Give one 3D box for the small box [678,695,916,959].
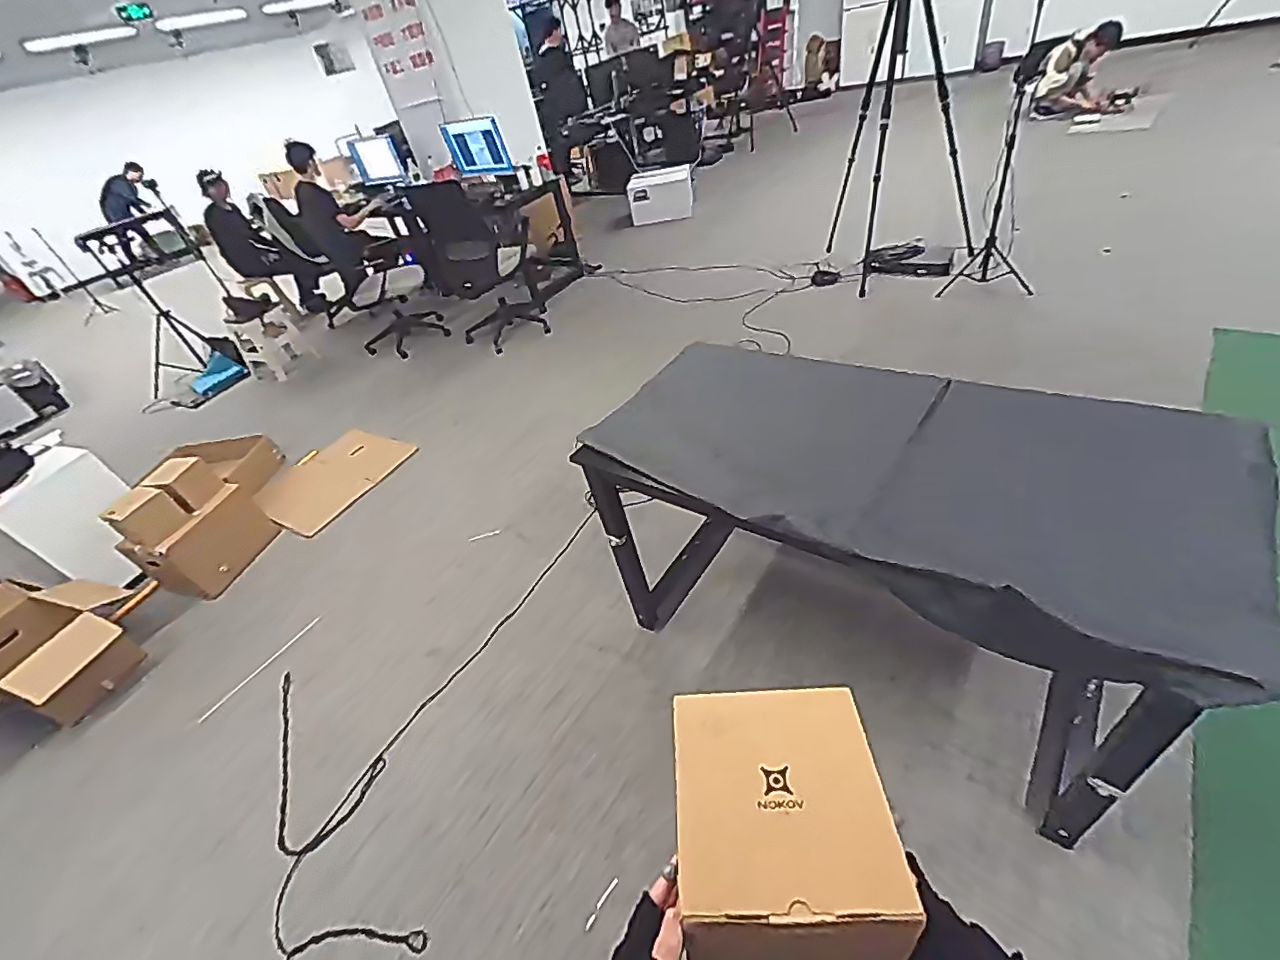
[{"bbox_3d":[0.120,0.322,0.492,0.168,0.176,0.179,-4,35,5],"label":"small box"}]
